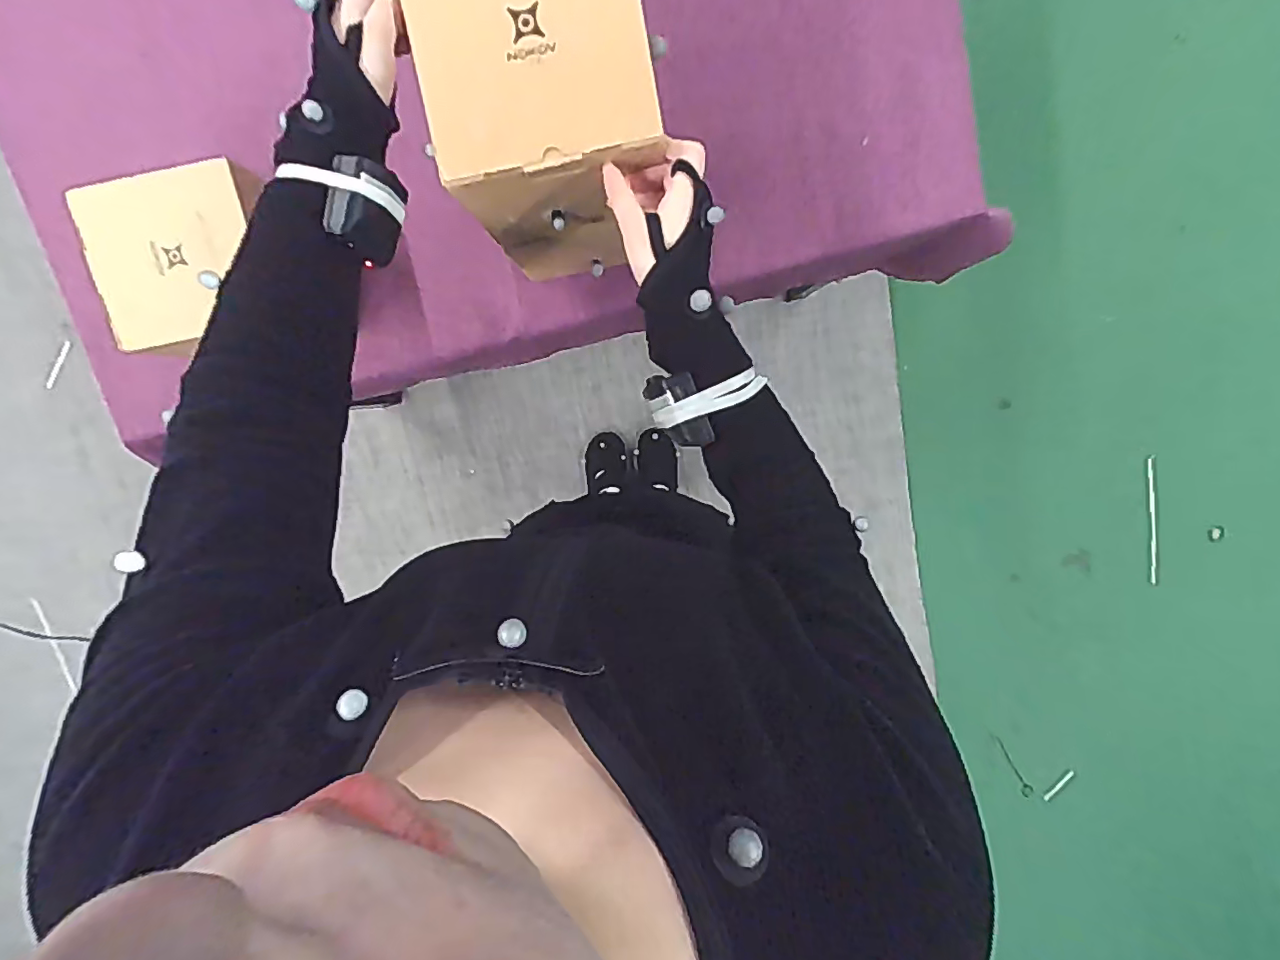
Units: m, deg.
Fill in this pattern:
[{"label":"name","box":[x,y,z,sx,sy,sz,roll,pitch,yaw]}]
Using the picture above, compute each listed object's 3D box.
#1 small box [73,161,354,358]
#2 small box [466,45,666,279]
[{"label":"small box","box":[-0.483,-0.244,0.643,0.179,0.176,0.168,-11,100,1]},{"label":"small box","box":[-0.074,-0.346,0.624,0.179,0.176,0.168,-12,99,2]}]
